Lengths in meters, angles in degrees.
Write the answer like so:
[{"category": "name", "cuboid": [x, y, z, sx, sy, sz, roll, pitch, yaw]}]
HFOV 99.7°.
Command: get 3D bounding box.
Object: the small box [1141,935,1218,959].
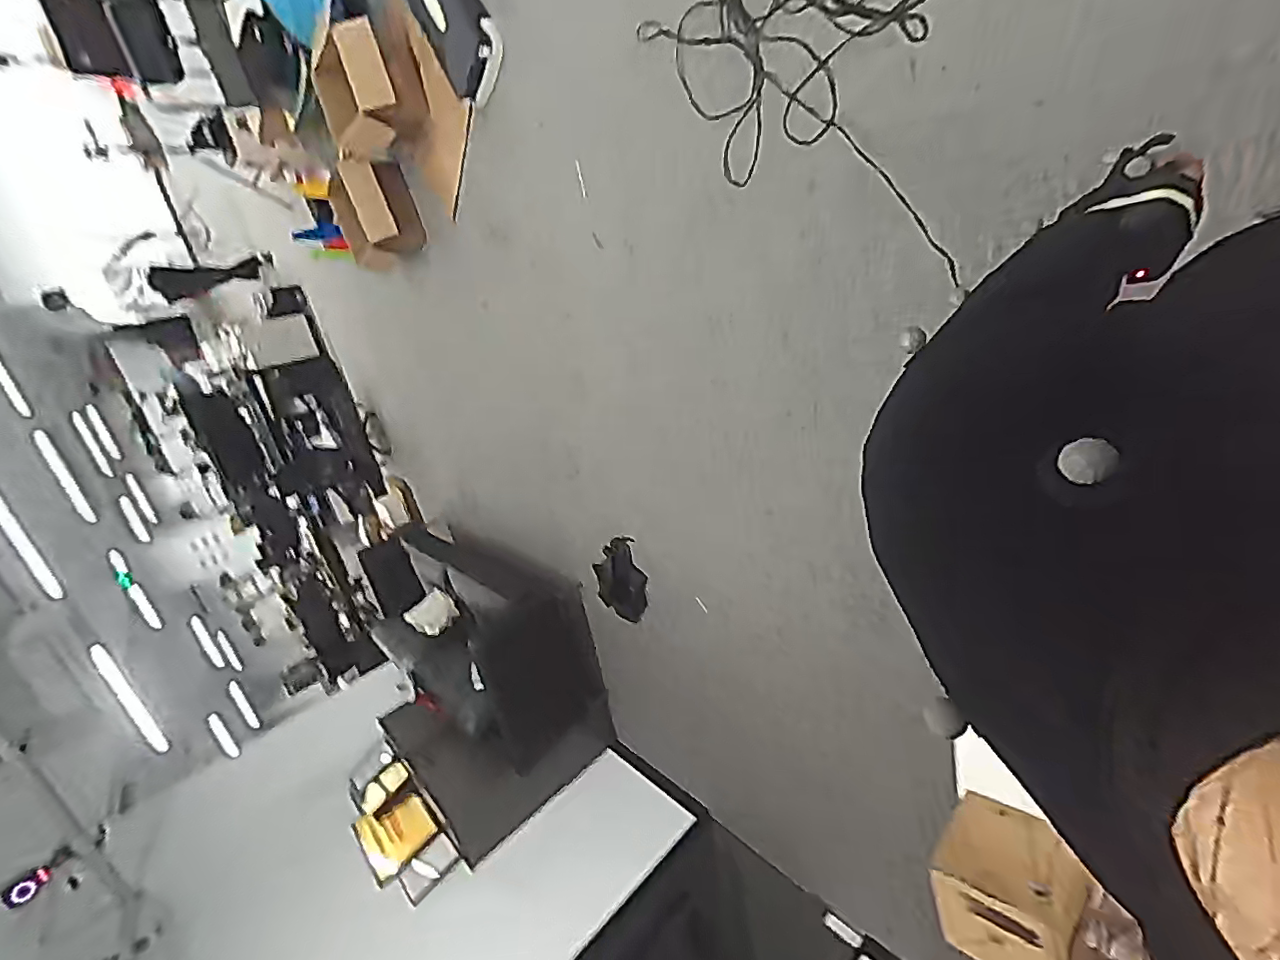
[{"category": "small box", "cuboid": [0.768, 0.757, 0.697, 0.168, 0.176, 0.179, -17, 98, 55]}]
